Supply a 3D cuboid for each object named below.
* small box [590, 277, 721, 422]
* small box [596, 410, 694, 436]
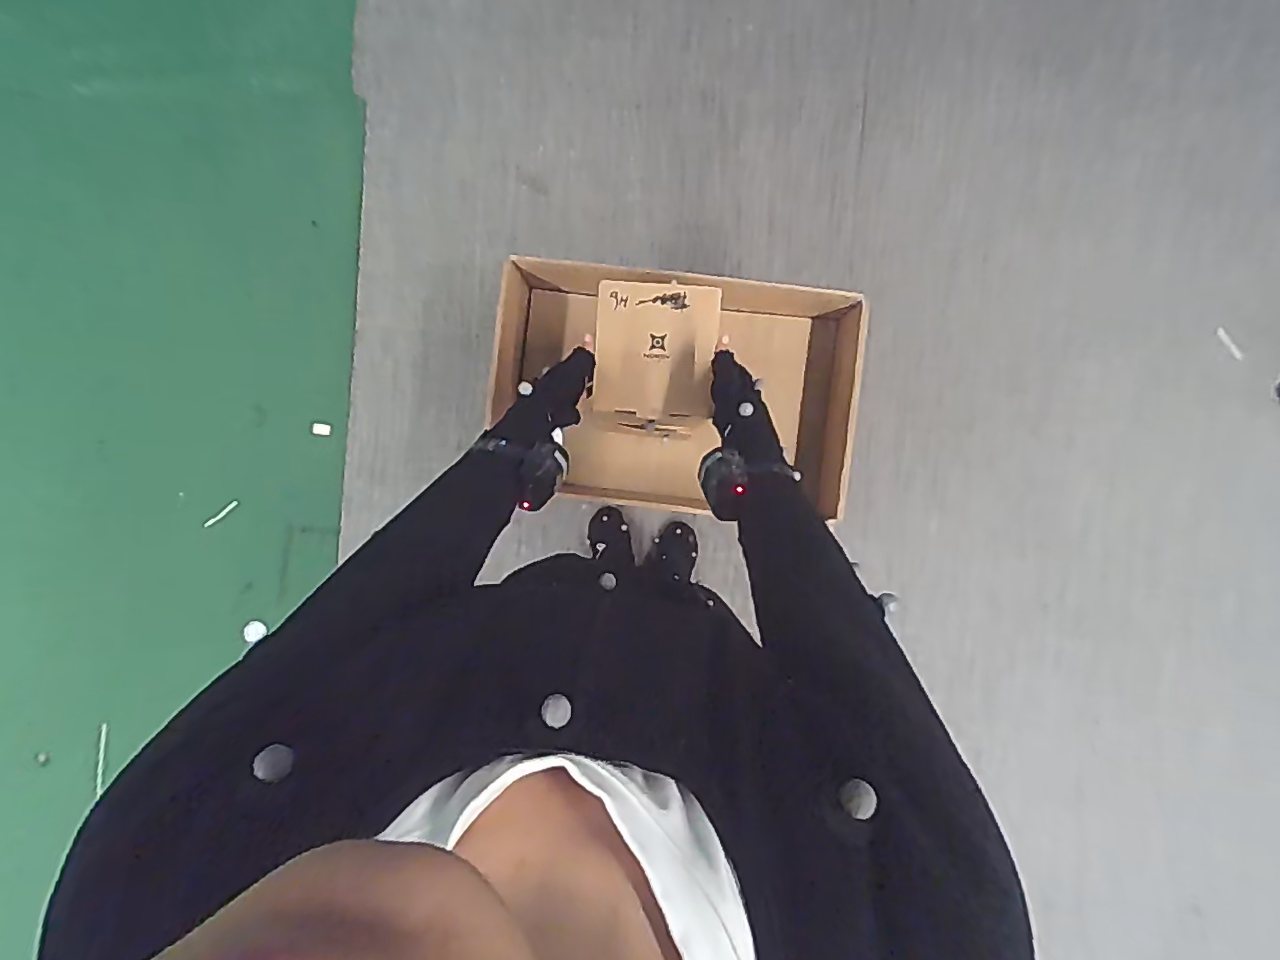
[{"bbox_3d":[0.021,-0.180,0.798,0.168,0.176,0.179,4,92,-1],"label":"small box"},{"bbox_3d":[0.018,-0.177,0.962,0.168,0.176,0.179,6,90,-1],"label":"small box"}]
